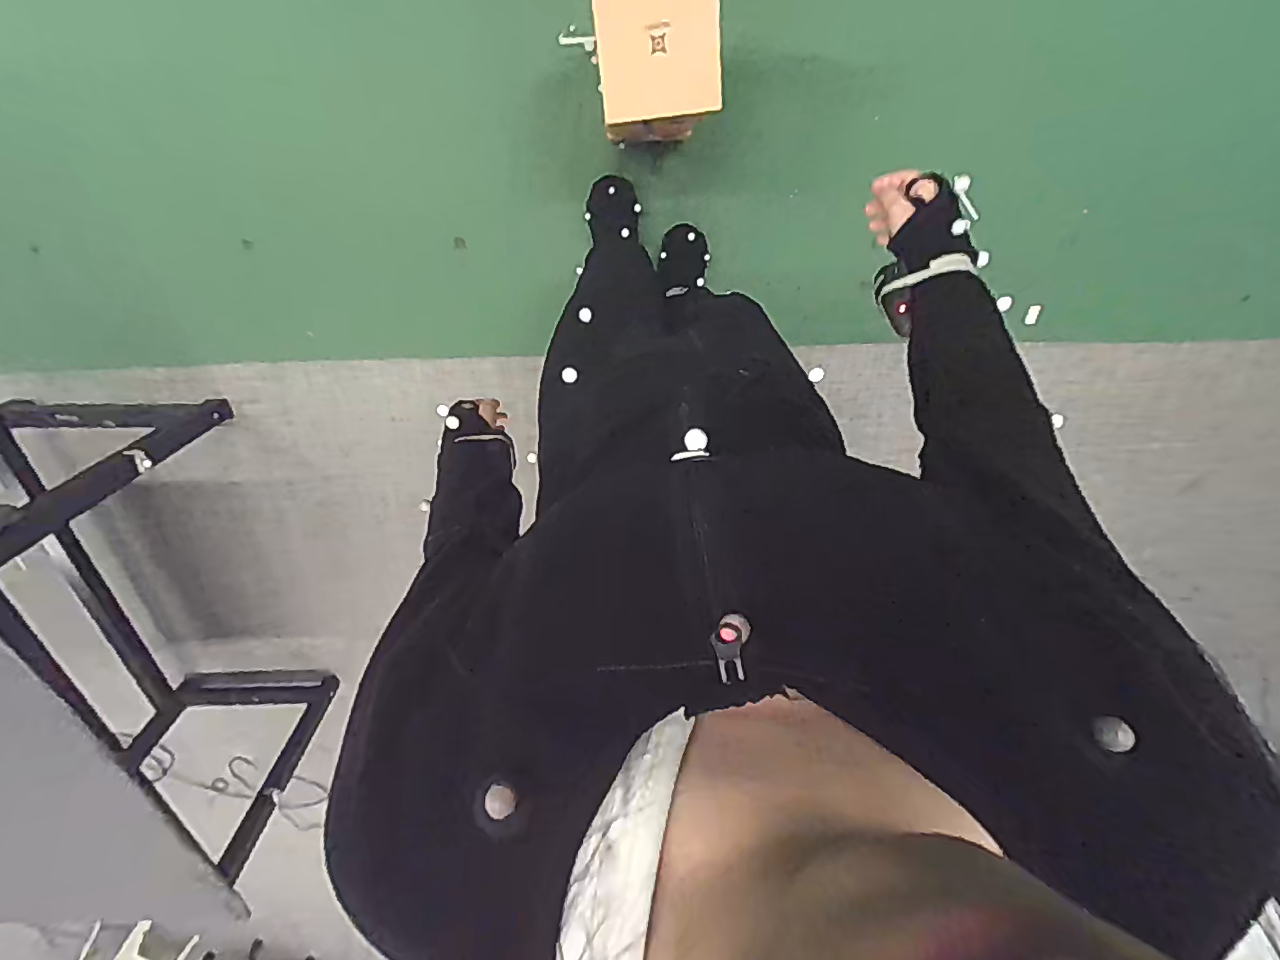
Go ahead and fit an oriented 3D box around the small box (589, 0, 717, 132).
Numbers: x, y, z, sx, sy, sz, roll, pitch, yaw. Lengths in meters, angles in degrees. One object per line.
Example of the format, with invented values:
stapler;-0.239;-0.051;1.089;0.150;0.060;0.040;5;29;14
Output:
small box;0.020;-0.620;0.789;0.168;0.176;0.179;-6;119;2
